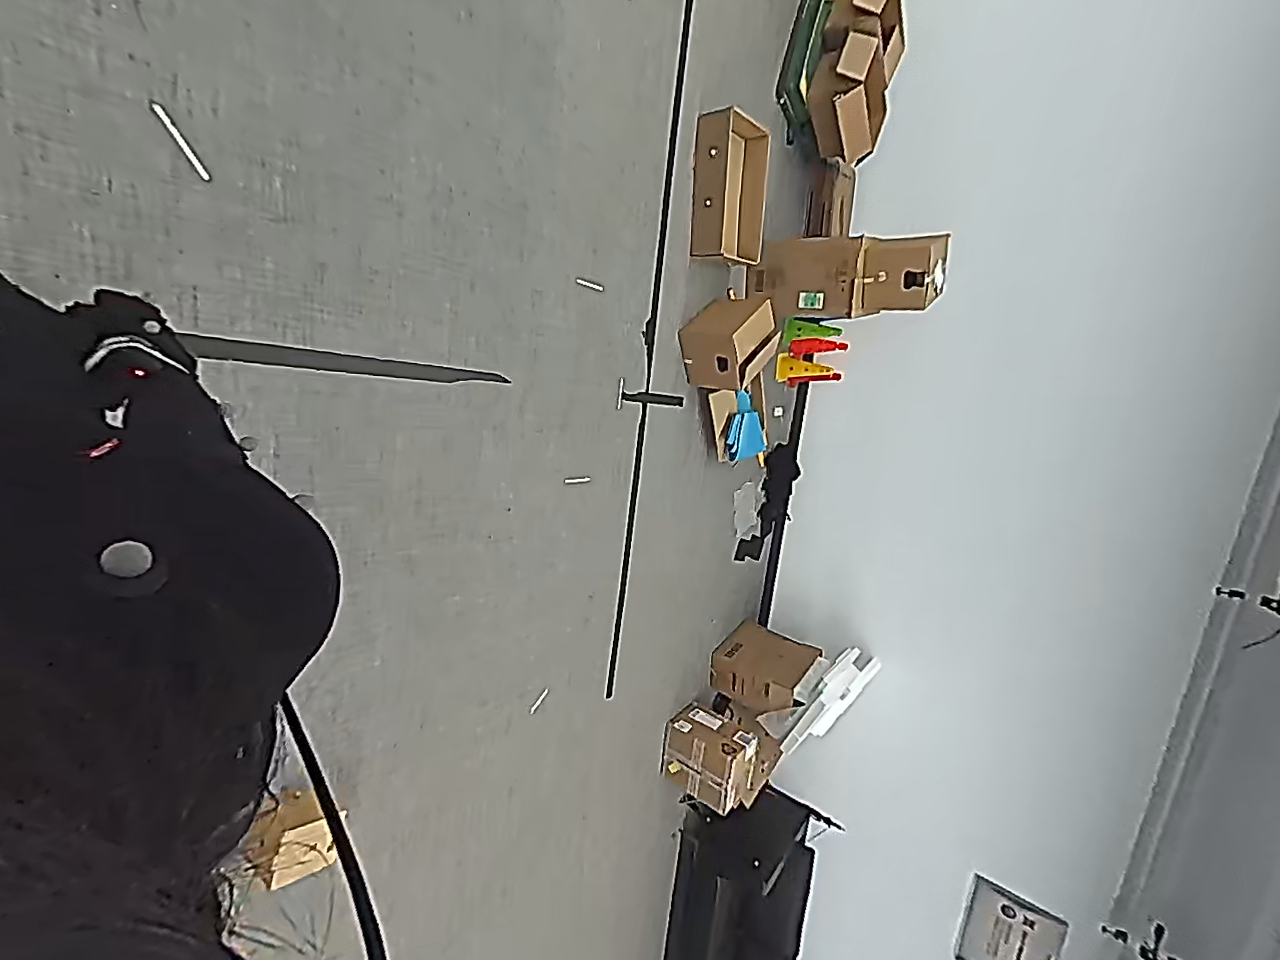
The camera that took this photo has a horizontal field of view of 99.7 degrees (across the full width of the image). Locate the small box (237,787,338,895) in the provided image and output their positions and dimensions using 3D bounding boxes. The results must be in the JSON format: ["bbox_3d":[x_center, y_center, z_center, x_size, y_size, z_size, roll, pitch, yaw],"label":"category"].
[{"bbox_3d":[-1.003,1.011,1.531,0.179,0.176,0.168,16,89,-55],"label":"small box"}]

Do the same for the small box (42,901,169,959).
[{"bbox_3d":[-1.230,1.140,1.255,0.168,0.176,0.179,-33,126,-45],"label":"small box"}]
